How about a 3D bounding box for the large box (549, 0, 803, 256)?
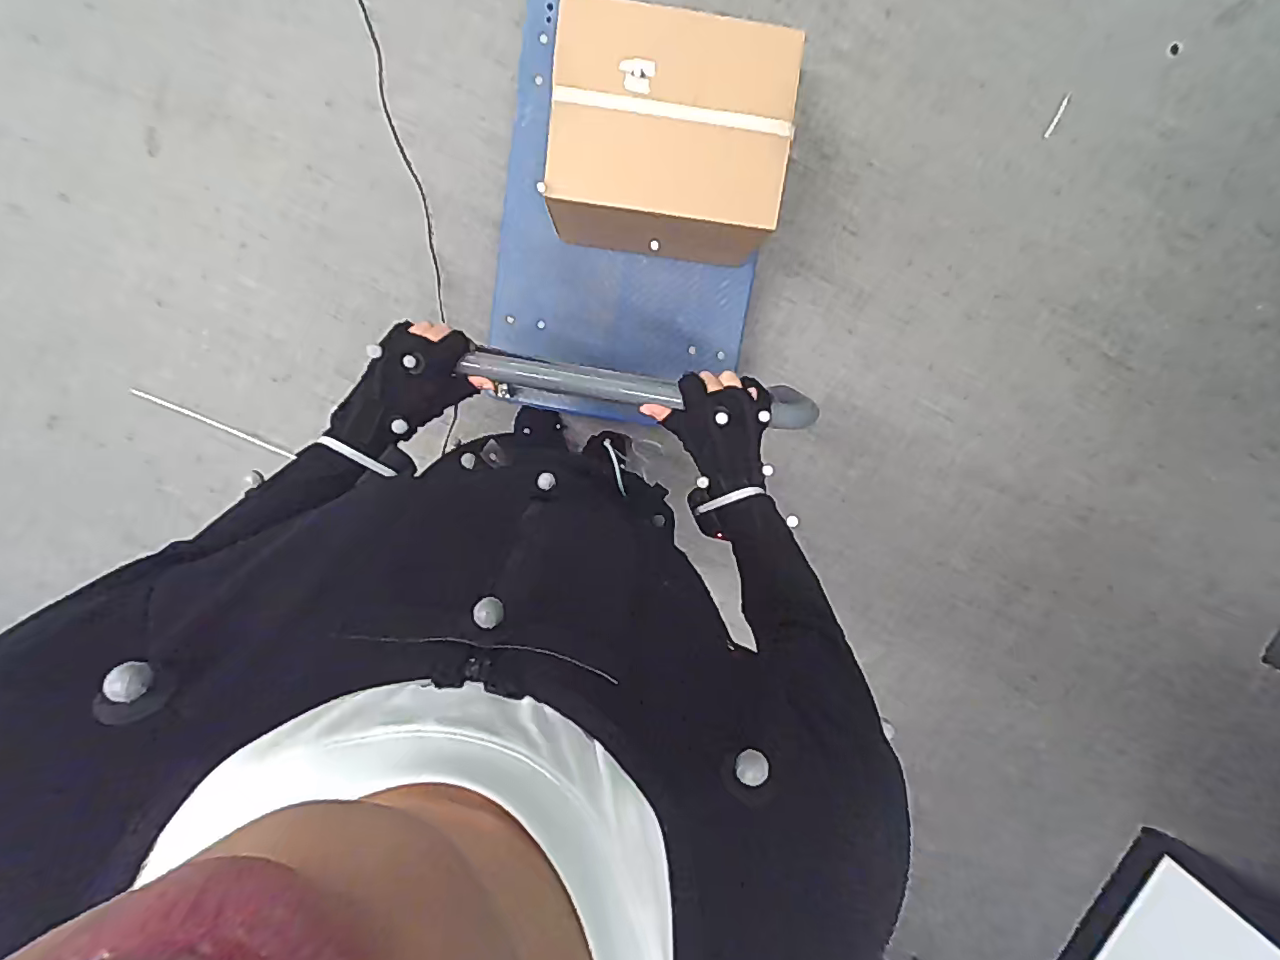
[{"bbox_3d":[0.054,-0.642,1.046,0.408,0.320,0.320,6,100,-3],"label":"large box"}]
